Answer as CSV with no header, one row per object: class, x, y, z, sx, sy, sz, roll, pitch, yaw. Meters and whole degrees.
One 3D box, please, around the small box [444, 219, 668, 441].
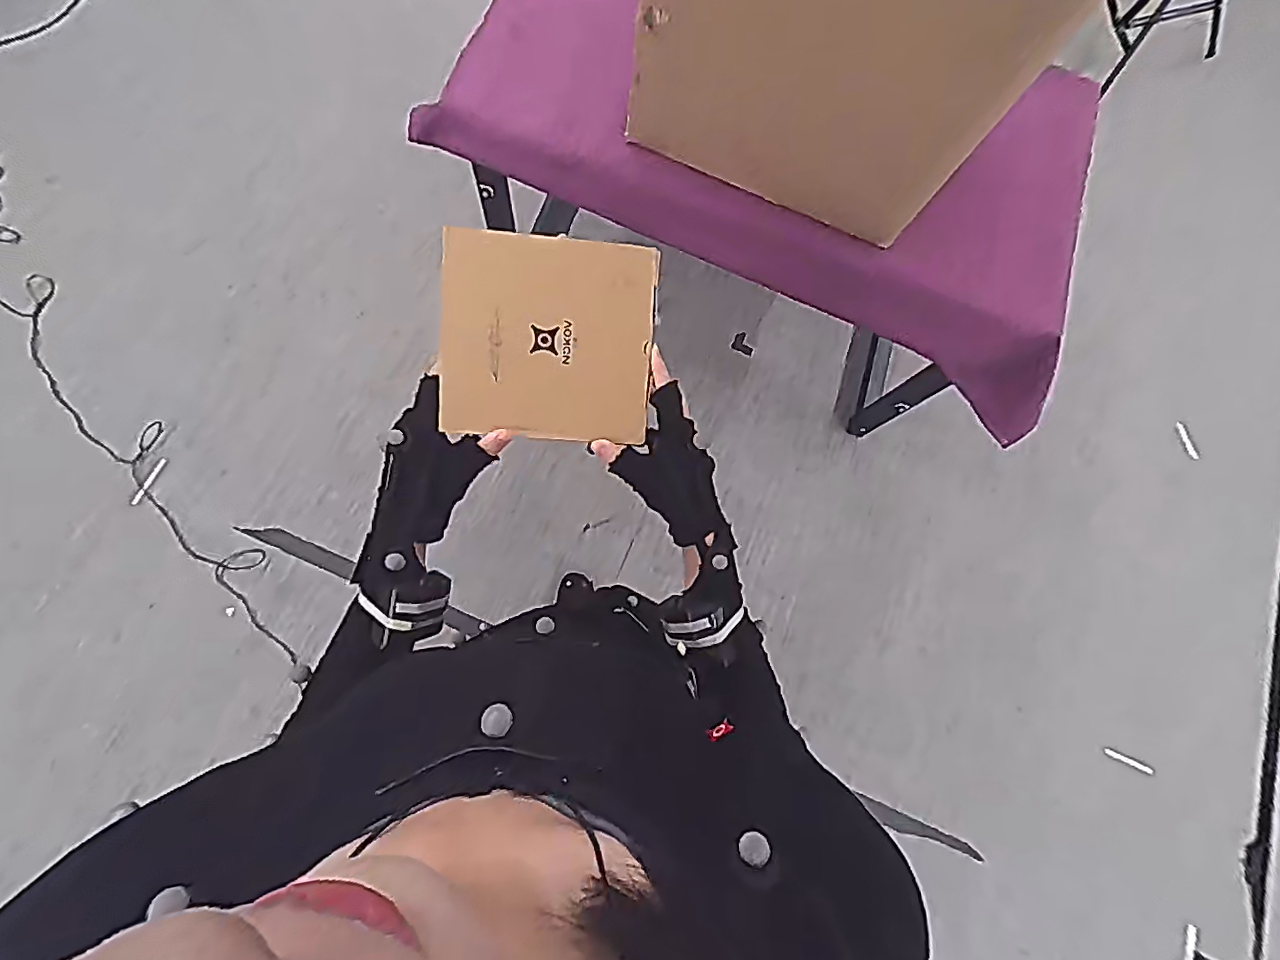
small box,-0.076,-0.128,0.518,0.179,0.176,0.168,3,96,-6
